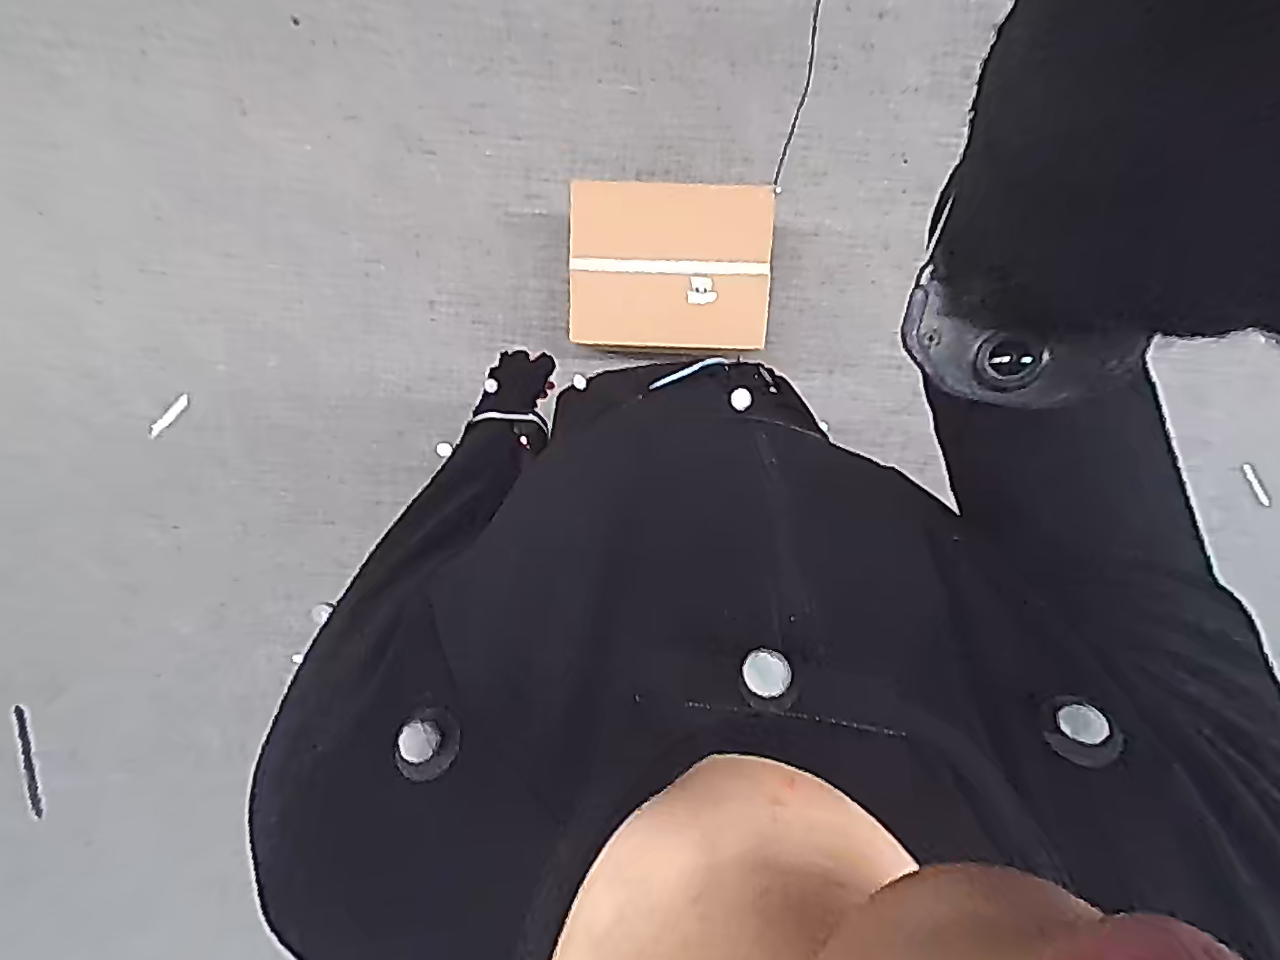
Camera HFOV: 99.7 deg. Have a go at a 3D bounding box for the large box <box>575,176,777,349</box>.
[{"bbox_3d":[0.067,-0.471,1.239,0.408,0.320,0.320,3,102,0],"label":"large box"}]
